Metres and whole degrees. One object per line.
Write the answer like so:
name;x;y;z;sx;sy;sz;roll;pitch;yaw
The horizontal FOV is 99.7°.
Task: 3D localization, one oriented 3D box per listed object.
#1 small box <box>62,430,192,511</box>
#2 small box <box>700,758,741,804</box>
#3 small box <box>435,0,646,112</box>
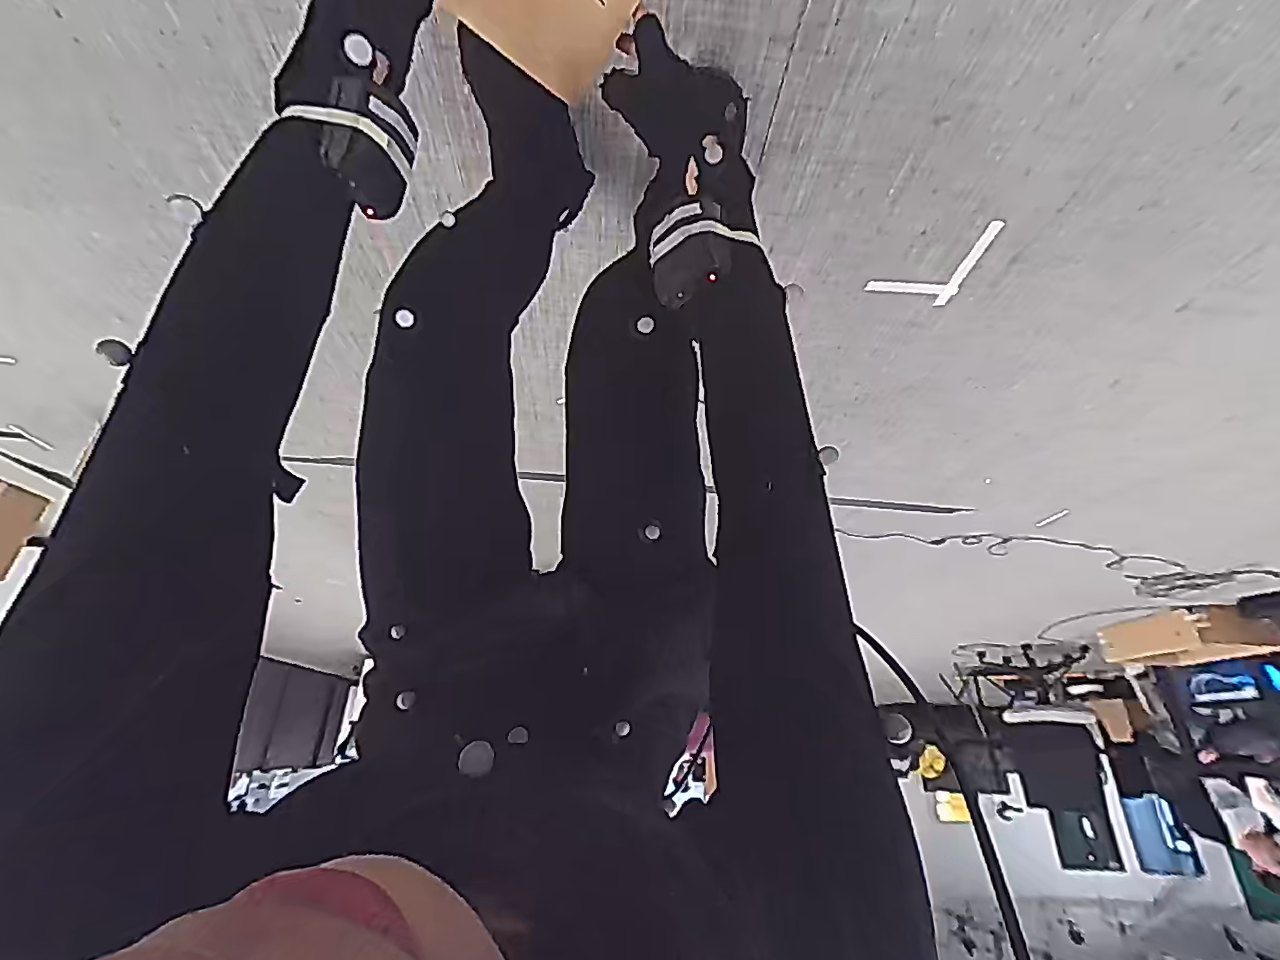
small box;-1.414;-0.027;1.505;0.179;0.176;0.168;3;154;-4
small box;0.346;1.298;2.335;0.168;0.176;0.179;-1;152;7
small box;-0.075;-0.465;0.446;0.179;0.176;0.168;24;139;-29
